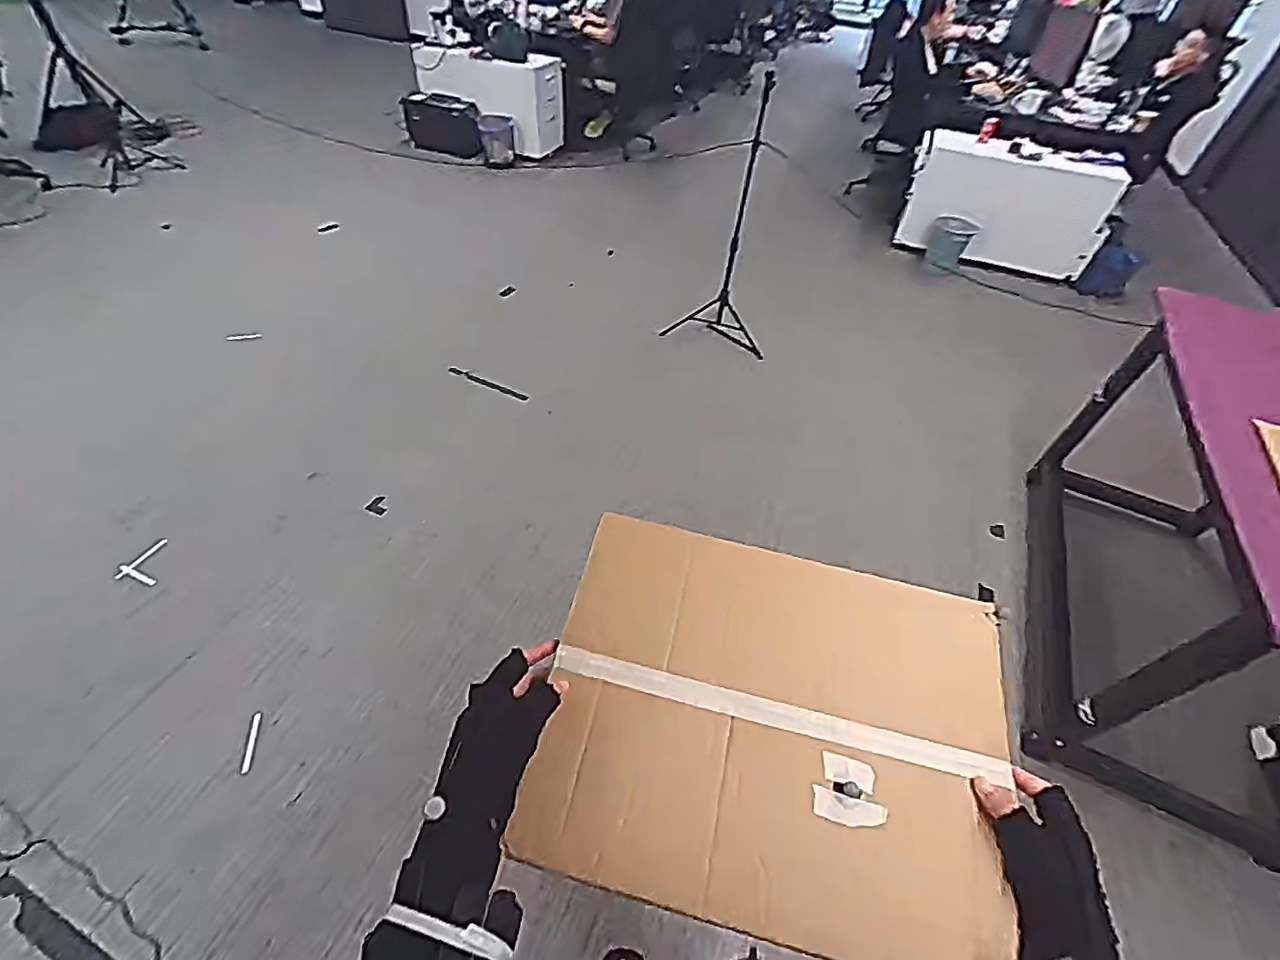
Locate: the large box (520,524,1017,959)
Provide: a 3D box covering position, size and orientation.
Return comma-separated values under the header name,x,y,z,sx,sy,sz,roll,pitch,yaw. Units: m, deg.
name,x,y,z,sx,sy,sz,roll,pitch,yaw
large box,0.120,0.291,0.624,0.408,0.320,0.320,13,60,6
